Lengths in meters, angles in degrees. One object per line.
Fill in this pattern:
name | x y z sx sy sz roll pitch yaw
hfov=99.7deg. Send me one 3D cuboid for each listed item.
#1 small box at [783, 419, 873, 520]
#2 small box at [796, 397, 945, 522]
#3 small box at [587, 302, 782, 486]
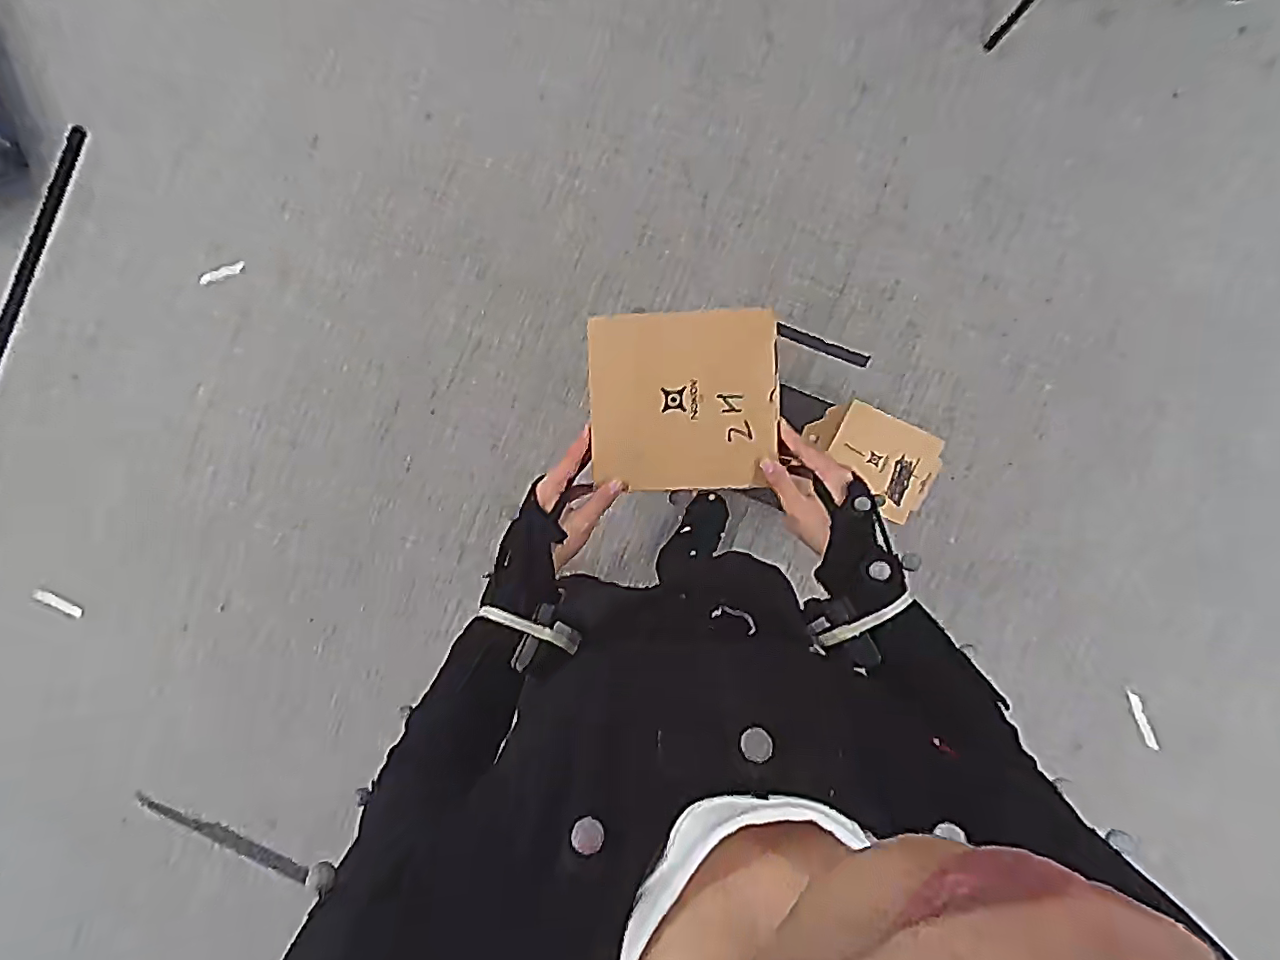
small box | 0.429 -0.029 1.182 0.168 0.176 0.179 21 93 3
small box | 0.420 -0.040 1.017 0.179 0.176 0.168 27 93 3
small box | 0.047 -0.079 0.571 0.179 0.176 0.168 -2 93 4
